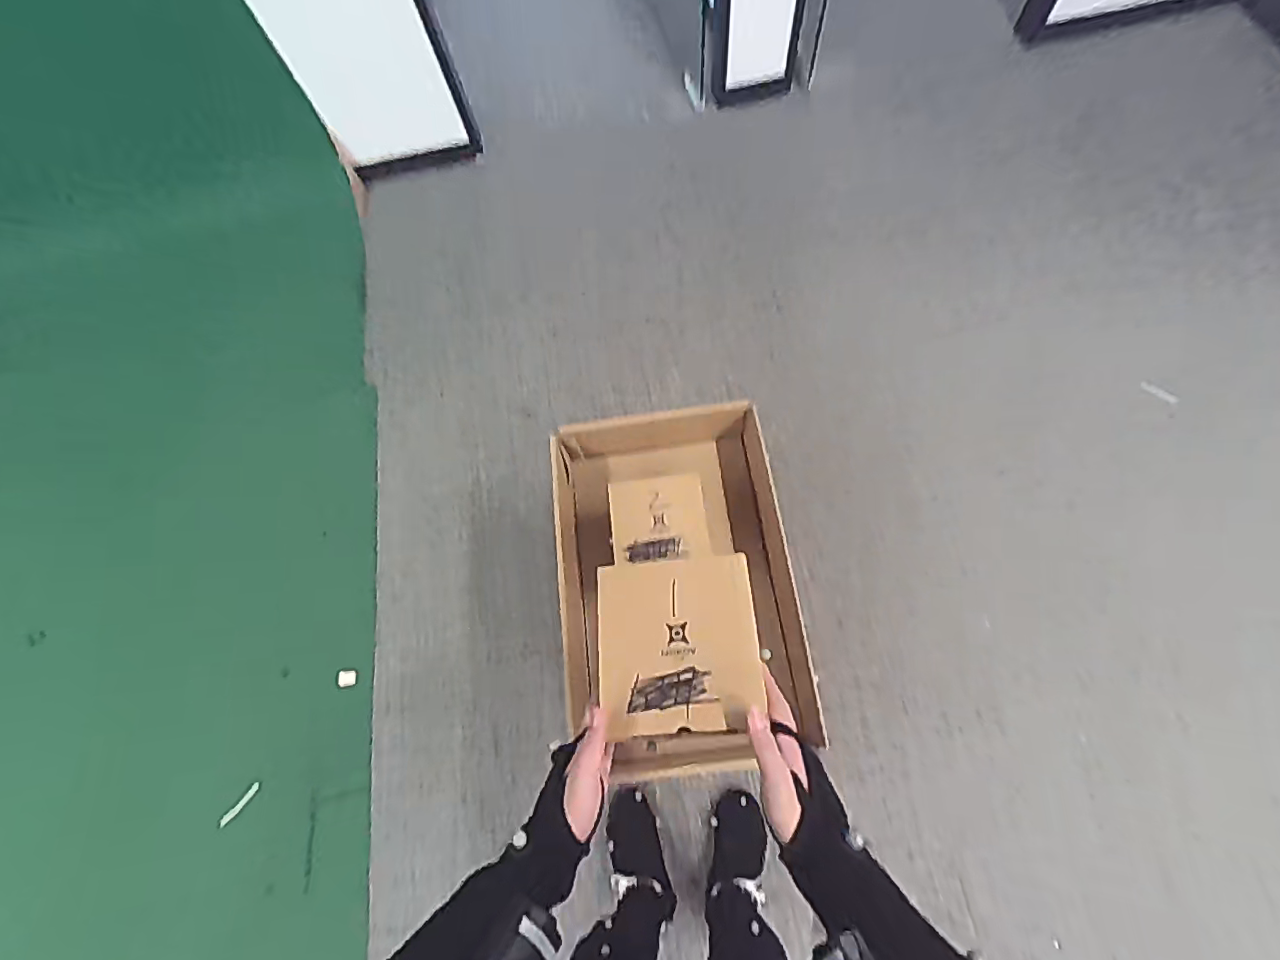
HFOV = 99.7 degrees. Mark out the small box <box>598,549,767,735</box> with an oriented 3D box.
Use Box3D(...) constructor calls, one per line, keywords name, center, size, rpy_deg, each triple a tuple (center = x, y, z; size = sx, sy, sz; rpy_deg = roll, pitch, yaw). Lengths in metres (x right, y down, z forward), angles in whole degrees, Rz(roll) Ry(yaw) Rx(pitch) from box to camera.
Box3D(name="small box", center=(0.050, 0.193, 0.620), size=(0.168, 0.176, 0.179), rpy_deg=(-6, 62, 6))
